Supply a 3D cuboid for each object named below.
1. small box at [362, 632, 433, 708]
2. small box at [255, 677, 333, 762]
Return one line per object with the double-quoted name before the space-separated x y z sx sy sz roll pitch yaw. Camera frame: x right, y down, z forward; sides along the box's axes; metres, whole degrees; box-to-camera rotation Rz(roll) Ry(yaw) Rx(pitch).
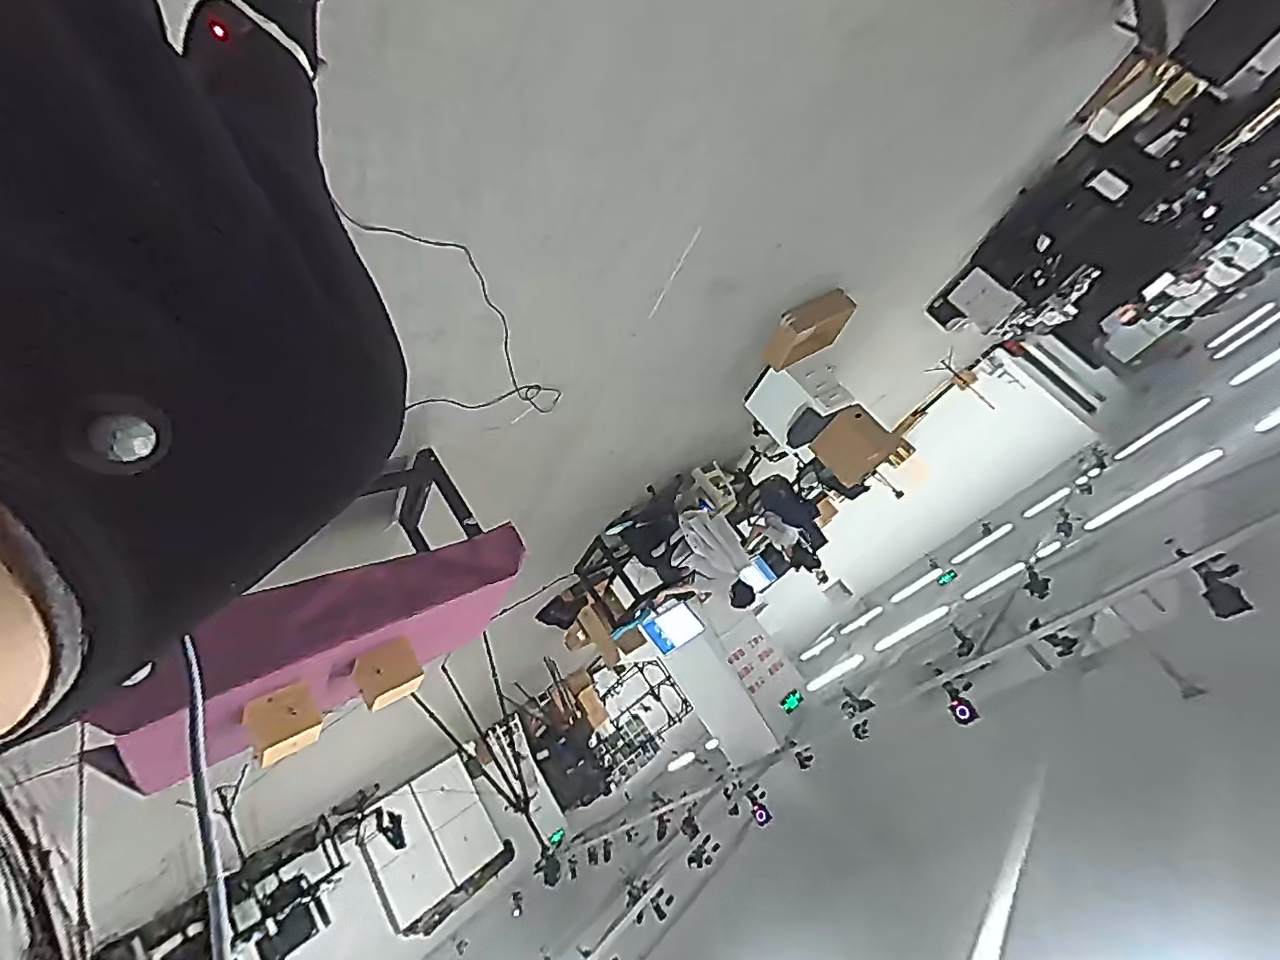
"small box" -0.895 0.692 1.983 0.179 0.176 0.168 -19 154 -45
"small box" -1.120 0.764 1.746 0.168 0.176 0.179 -17 153 -46
